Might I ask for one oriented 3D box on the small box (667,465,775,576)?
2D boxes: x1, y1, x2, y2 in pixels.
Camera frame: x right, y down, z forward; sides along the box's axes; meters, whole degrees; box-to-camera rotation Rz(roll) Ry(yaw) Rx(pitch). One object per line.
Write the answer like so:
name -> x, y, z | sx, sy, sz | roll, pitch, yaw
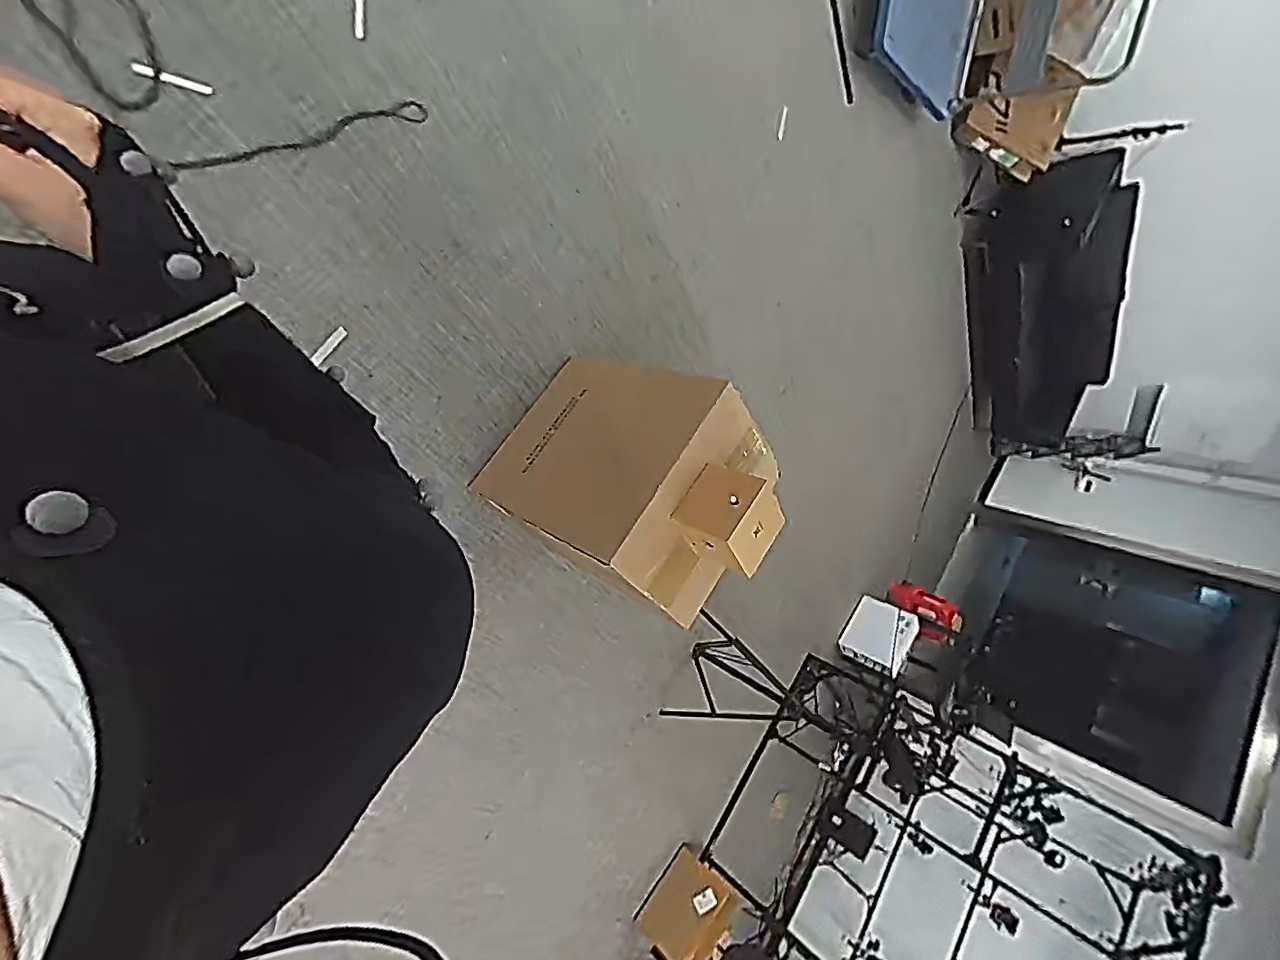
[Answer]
small box -> 0.185, 0.090, 1.268 | 0.179, 0.176, 0.168 | -54, 136, -19
